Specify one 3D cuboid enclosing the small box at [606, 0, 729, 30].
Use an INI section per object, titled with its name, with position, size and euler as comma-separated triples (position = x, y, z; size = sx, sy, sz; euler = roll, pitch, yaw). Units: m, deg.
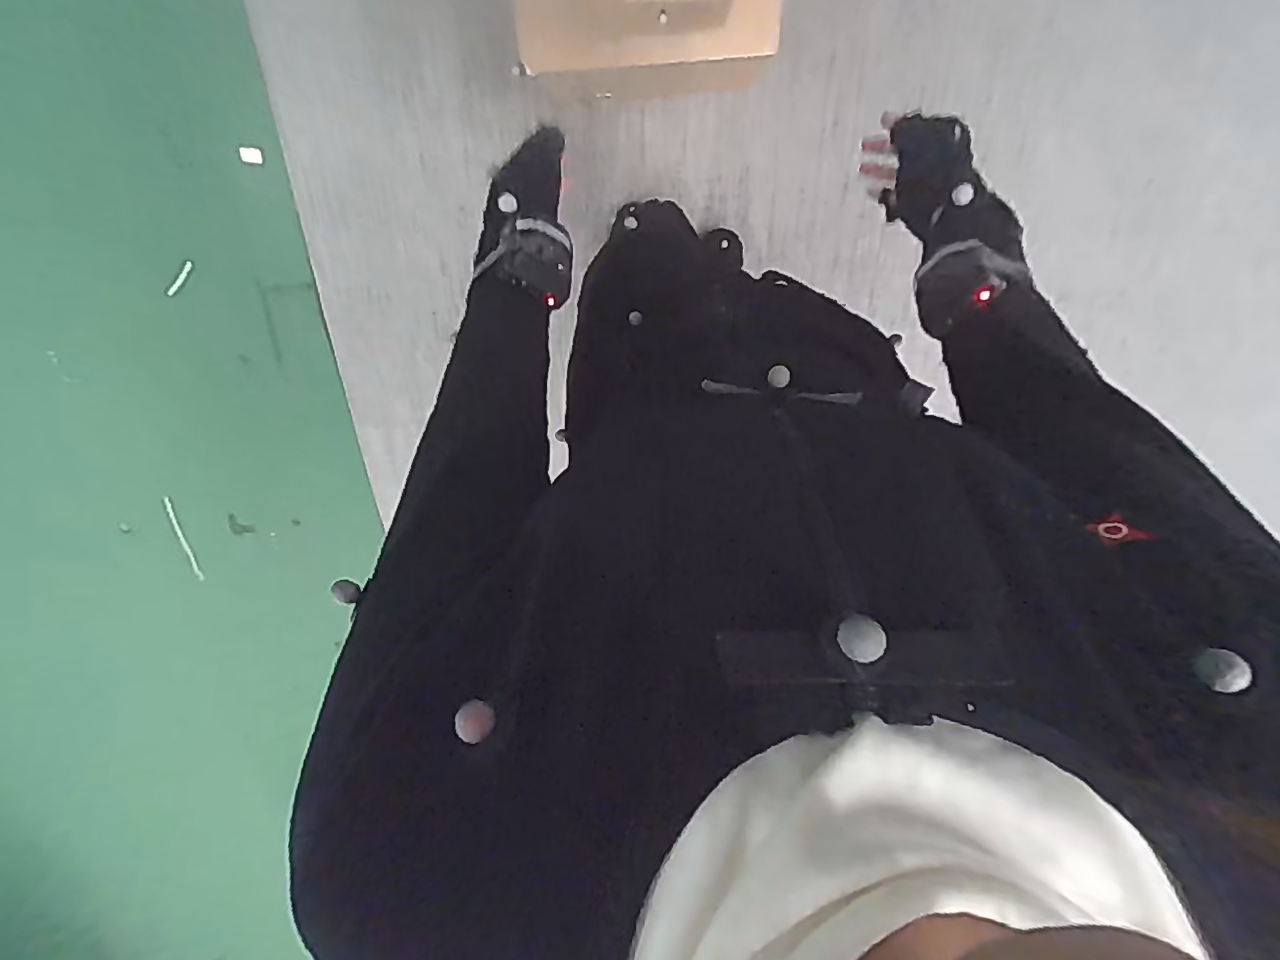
[small box]
position = 0.038, -0.721, 0.717
size = 0.179, 0.176, 0.168
euler = 0, 120, 2
